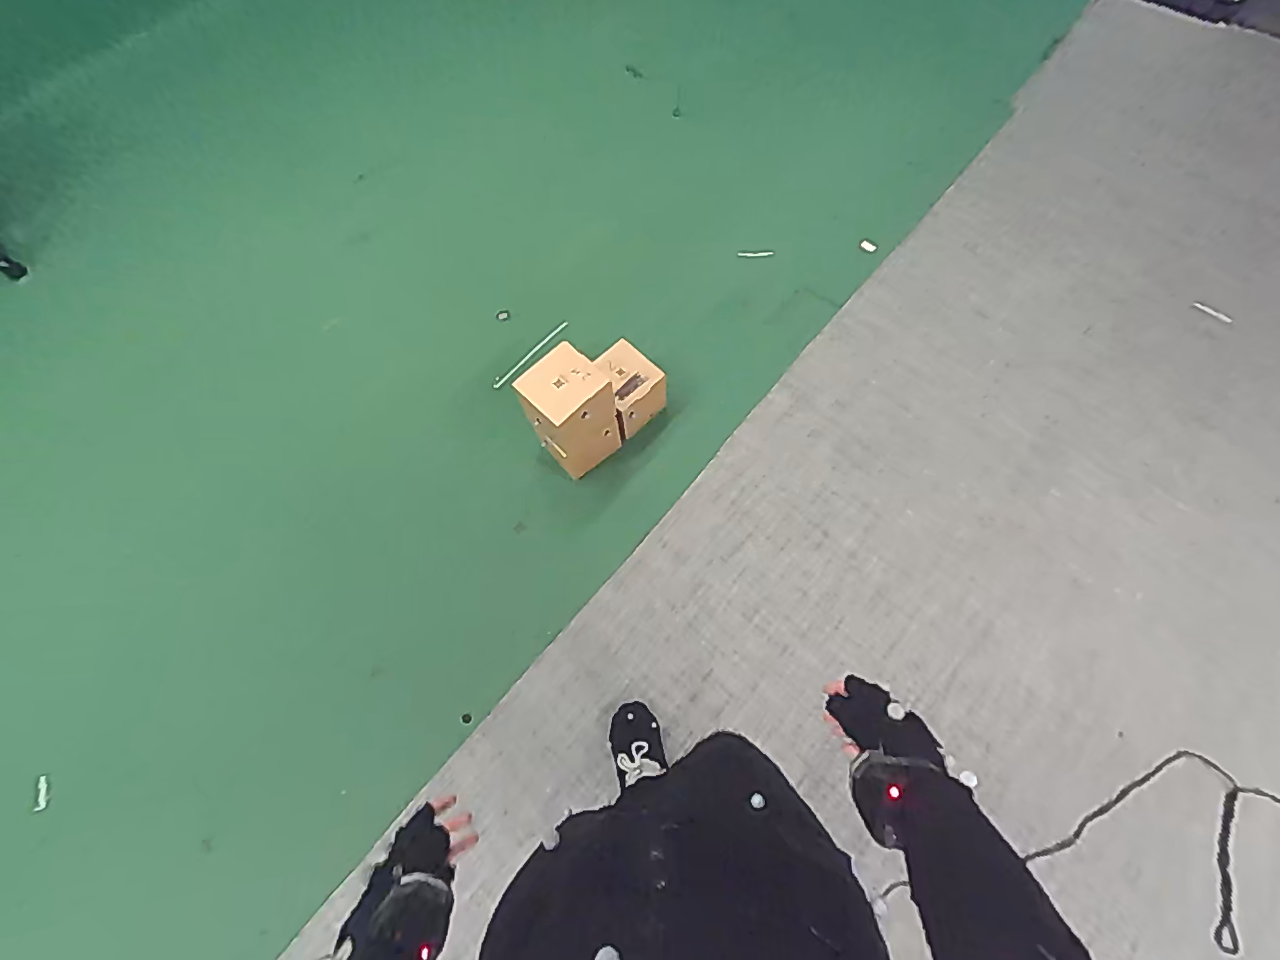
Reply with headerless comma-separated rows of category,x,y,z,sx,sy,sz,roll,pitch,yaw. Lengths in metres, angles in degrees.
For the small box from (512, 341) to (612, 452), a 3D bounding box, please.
small box,-0.183,-0.199,1.341,0.168,0.176,0.179,42,75,17
